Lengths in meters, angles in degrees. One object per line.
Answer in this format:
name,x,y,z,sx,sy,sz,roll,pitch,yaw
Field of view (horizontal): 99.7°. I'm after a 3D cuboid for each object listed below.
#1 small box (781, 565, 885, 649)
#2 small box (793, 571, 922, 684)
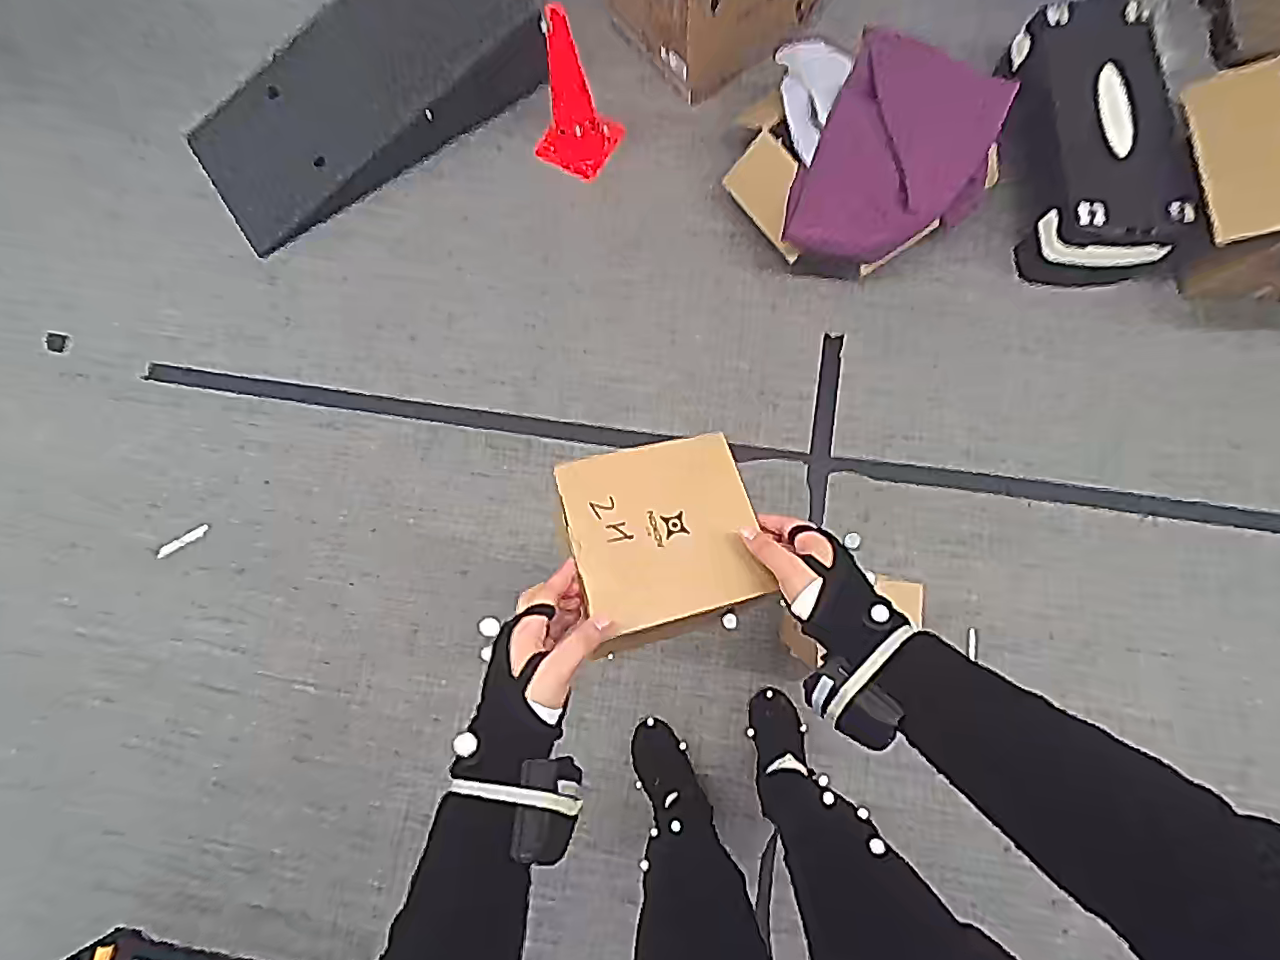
small box,0.410,0.287,1.165,0.168,0.176,0.179,10,80,4
small box,0.392,0.267,1.000,0.179,0.176,0.168,8,79,3
